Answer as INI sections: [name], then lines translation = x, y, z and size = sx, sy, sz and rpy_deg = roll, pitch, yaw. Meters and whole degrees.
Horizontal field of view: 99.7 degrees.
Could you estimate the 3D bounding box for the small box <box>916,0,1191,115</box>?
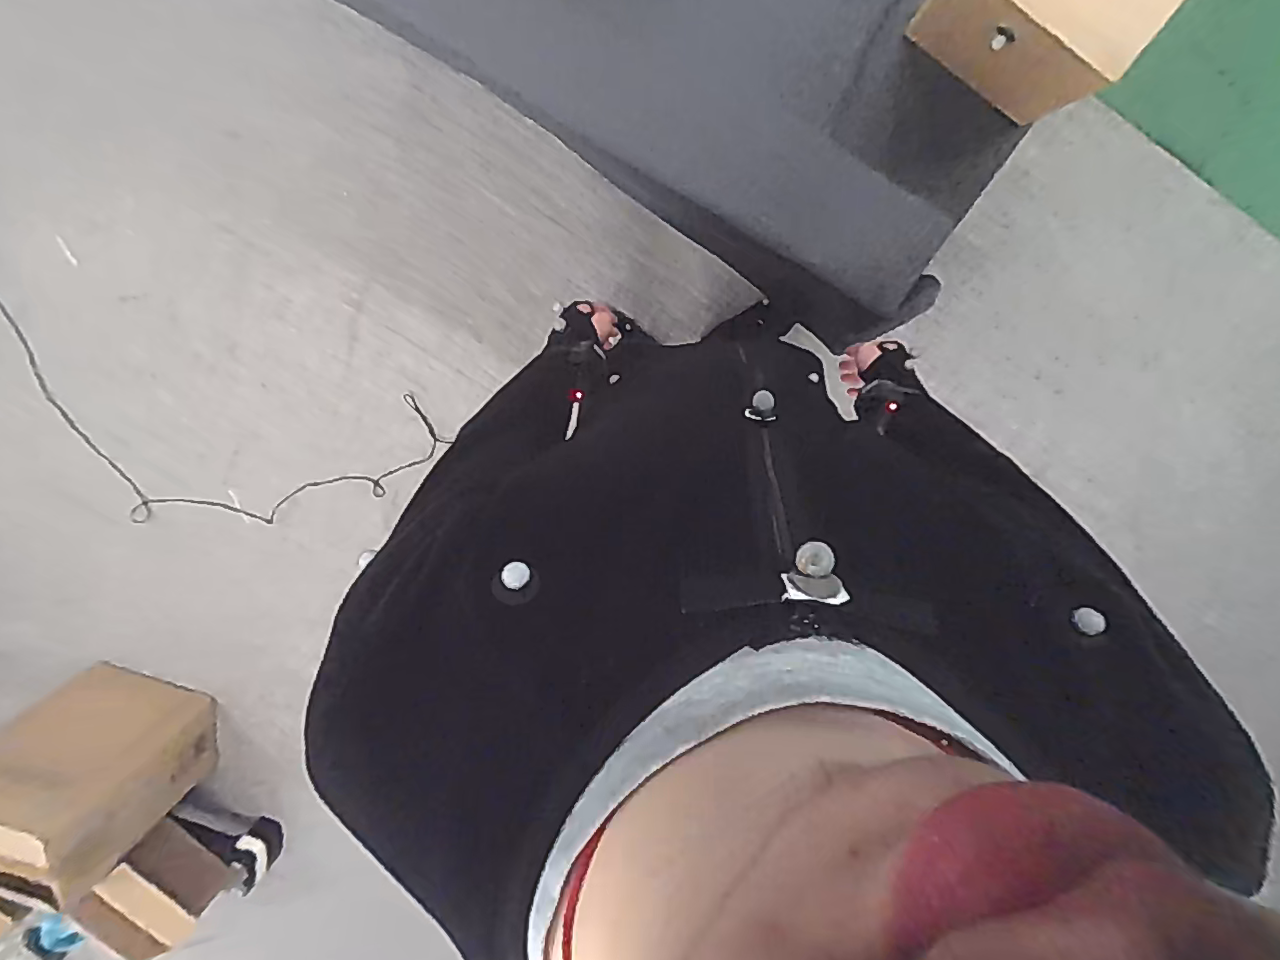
[small box]
translation = 0.406, -0.489, 0.513
size = 0.179, 0.176, 0.168
rpy_deg = 32, 111, -8
